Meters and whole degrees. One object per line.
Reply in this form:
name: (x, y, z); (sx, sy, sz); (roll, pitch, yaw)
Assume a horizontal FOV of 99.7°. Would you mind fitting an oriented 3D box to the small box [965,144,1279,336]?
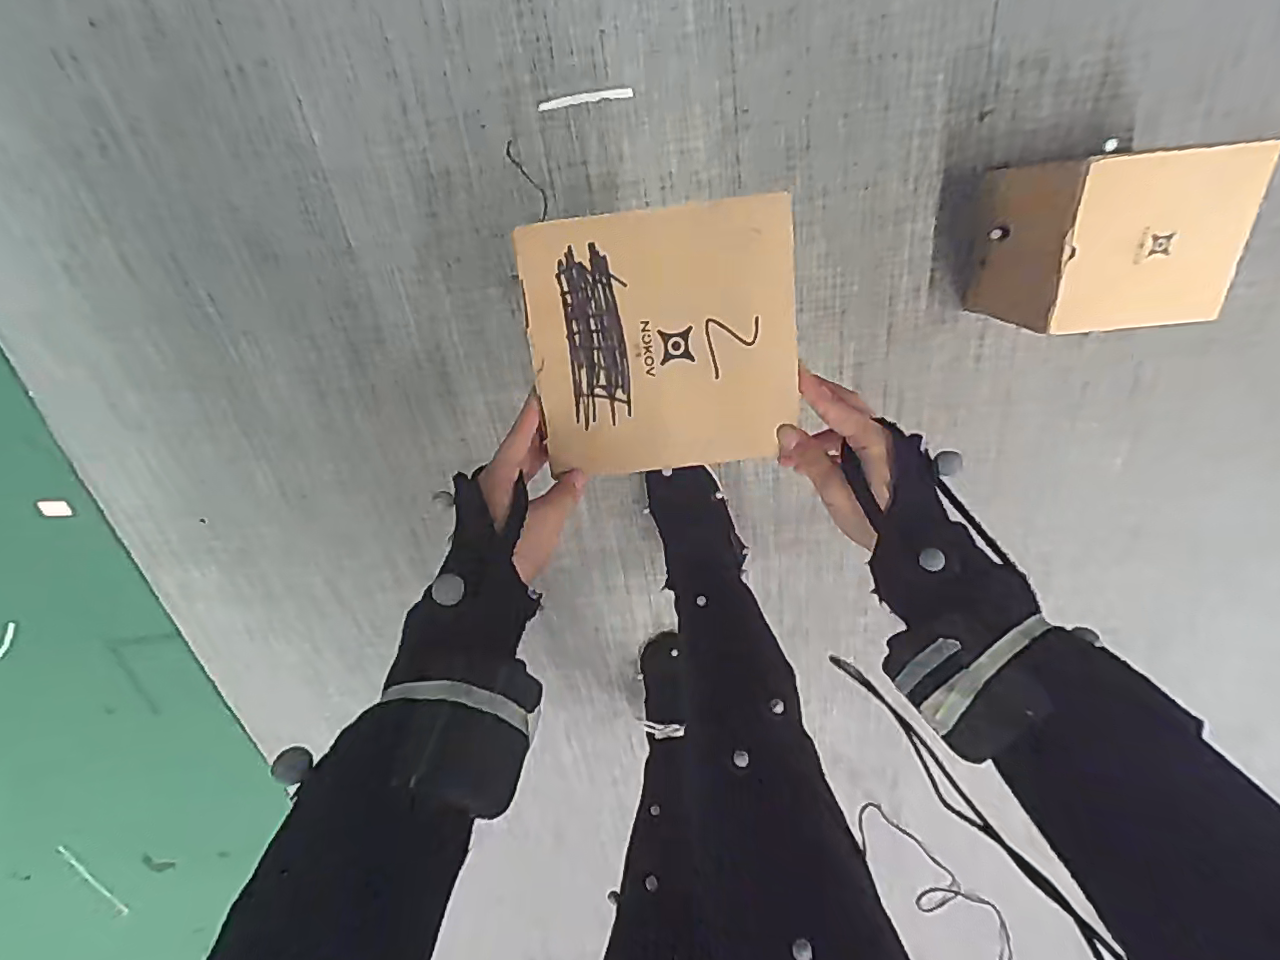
small box: (0.506, -0.268, 0.602); (0.179, 0.176, 0.168); (-4, 117, 4)
